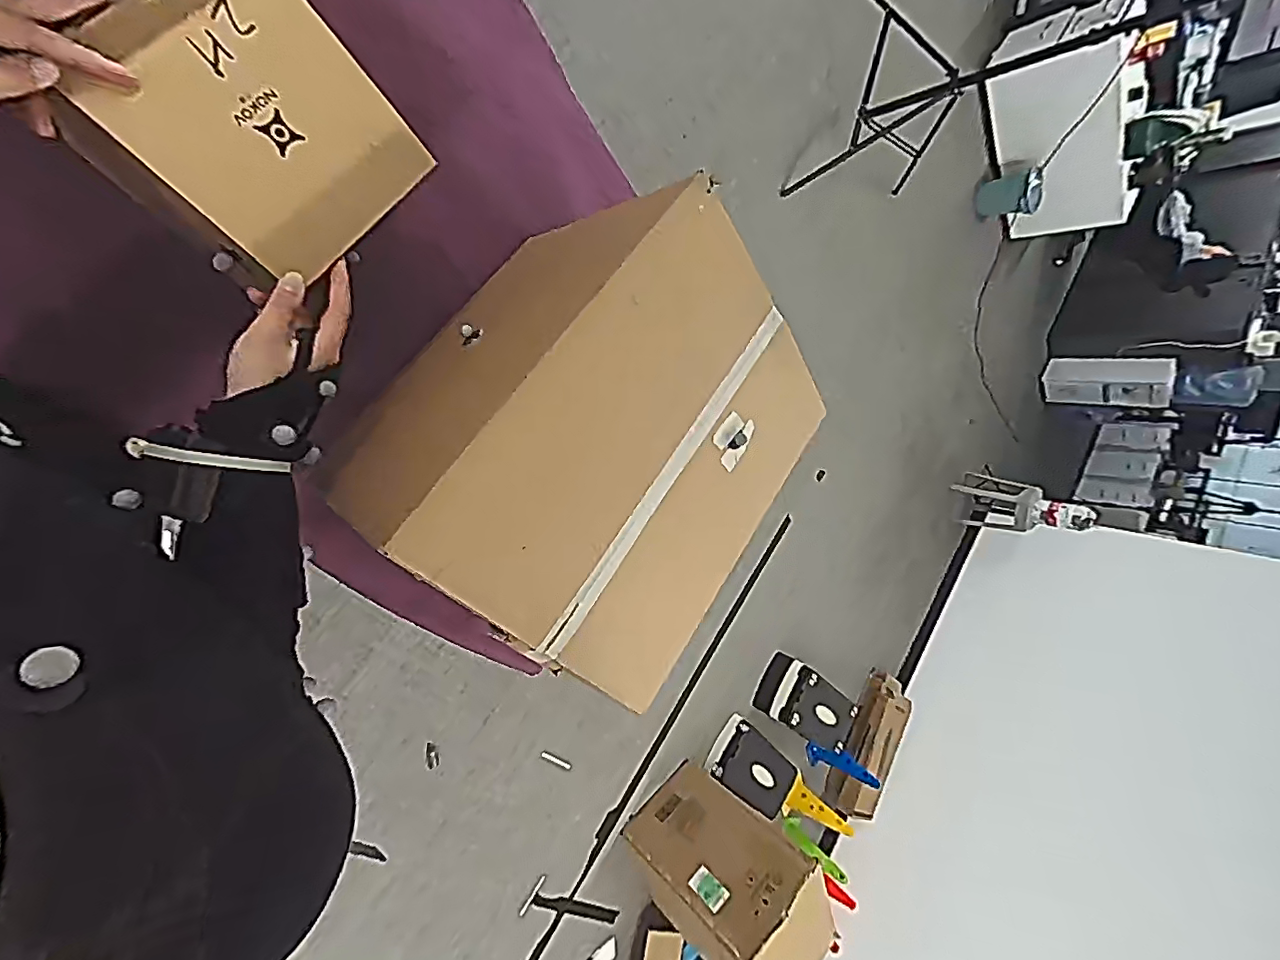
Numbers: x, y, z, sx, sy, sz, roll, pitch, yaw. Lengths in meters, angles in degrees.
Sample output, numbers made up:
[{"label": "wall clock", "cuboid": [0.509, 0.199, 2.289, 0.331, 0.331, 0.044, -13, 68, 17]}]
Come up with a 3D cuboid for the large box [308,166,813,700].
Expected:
[{"label": "large box", "cuboid": [-0.075, -0.048, 0.607, 0.408, 0.320, 0.320, -56, 130, -18]}]
